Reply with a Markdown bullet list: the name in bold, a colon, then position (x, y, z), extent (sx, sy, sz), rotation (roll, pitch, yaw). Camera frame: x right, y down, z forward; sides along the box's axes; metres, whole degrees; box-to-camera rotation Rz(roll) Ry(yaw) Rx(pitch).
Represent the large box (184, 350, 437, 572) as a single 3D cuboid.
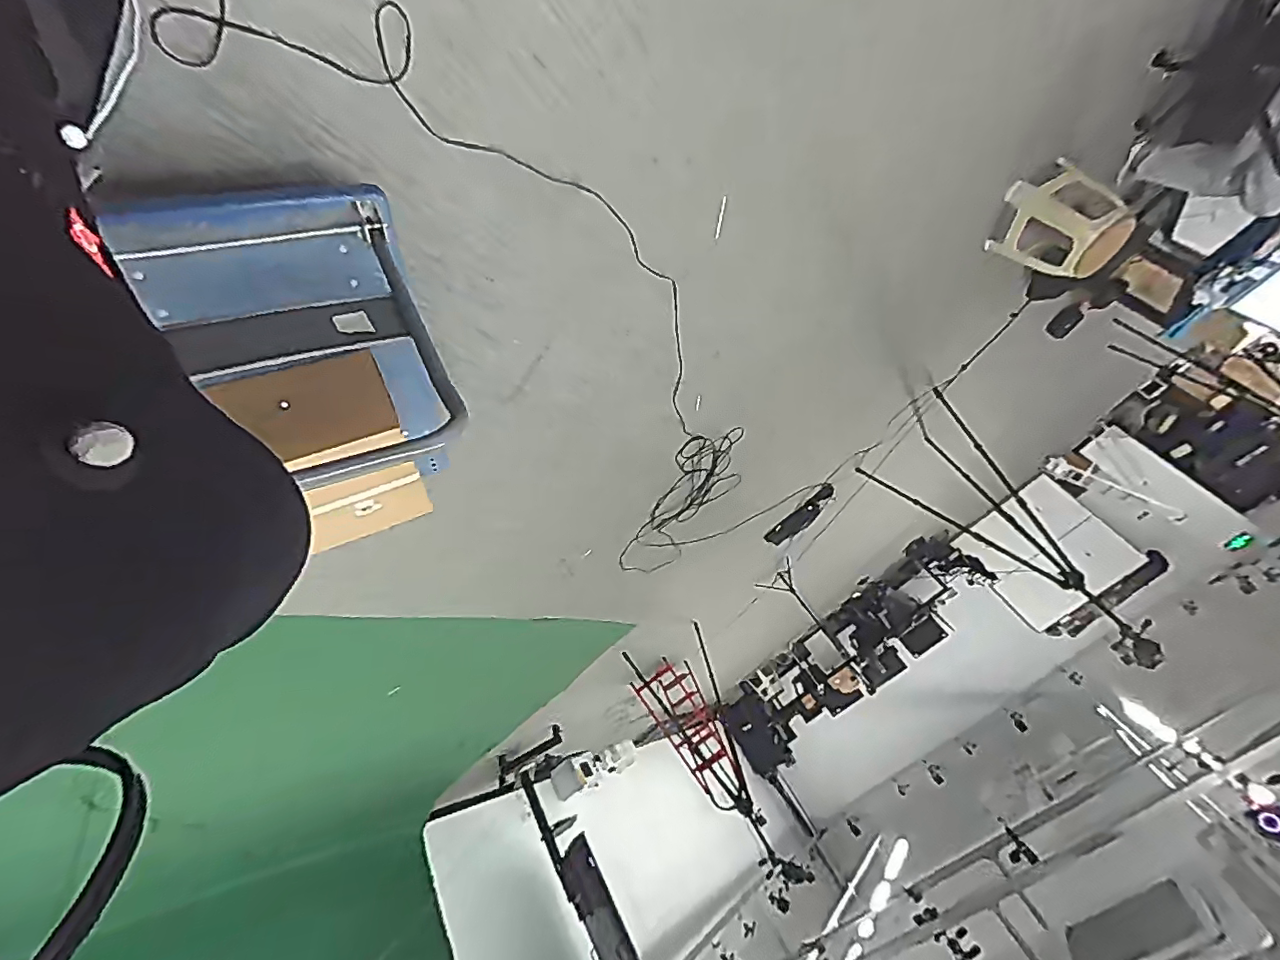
- **large box**: position (-0.768, -0.054, 1.297), extent (0.408, 0.320, 0.320), rotation (-24, 148, -20)
